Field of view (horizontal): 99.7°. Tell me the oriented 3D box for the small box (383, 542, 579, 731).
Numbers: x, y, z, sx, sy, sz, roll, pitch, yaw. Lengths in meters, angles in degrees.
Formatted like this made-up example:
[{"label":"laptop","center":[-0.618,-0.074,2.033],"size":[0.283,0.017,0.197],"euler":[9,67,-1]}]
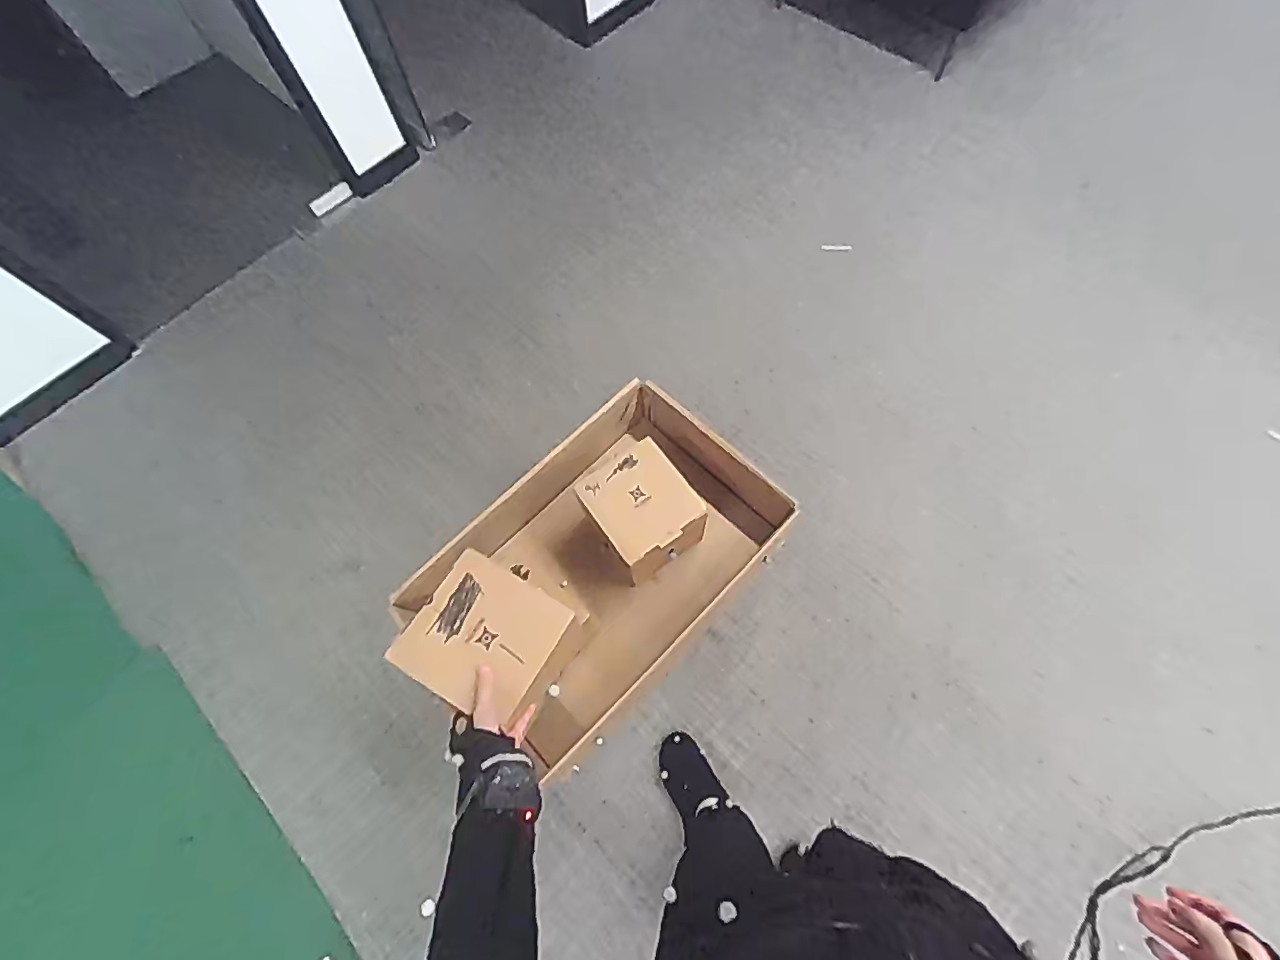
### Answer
[{"label":"small box","center":[-0.199,0.219,0.732],"size":[0.179,0.176,0.168],"euler":[30,64,12]}]
